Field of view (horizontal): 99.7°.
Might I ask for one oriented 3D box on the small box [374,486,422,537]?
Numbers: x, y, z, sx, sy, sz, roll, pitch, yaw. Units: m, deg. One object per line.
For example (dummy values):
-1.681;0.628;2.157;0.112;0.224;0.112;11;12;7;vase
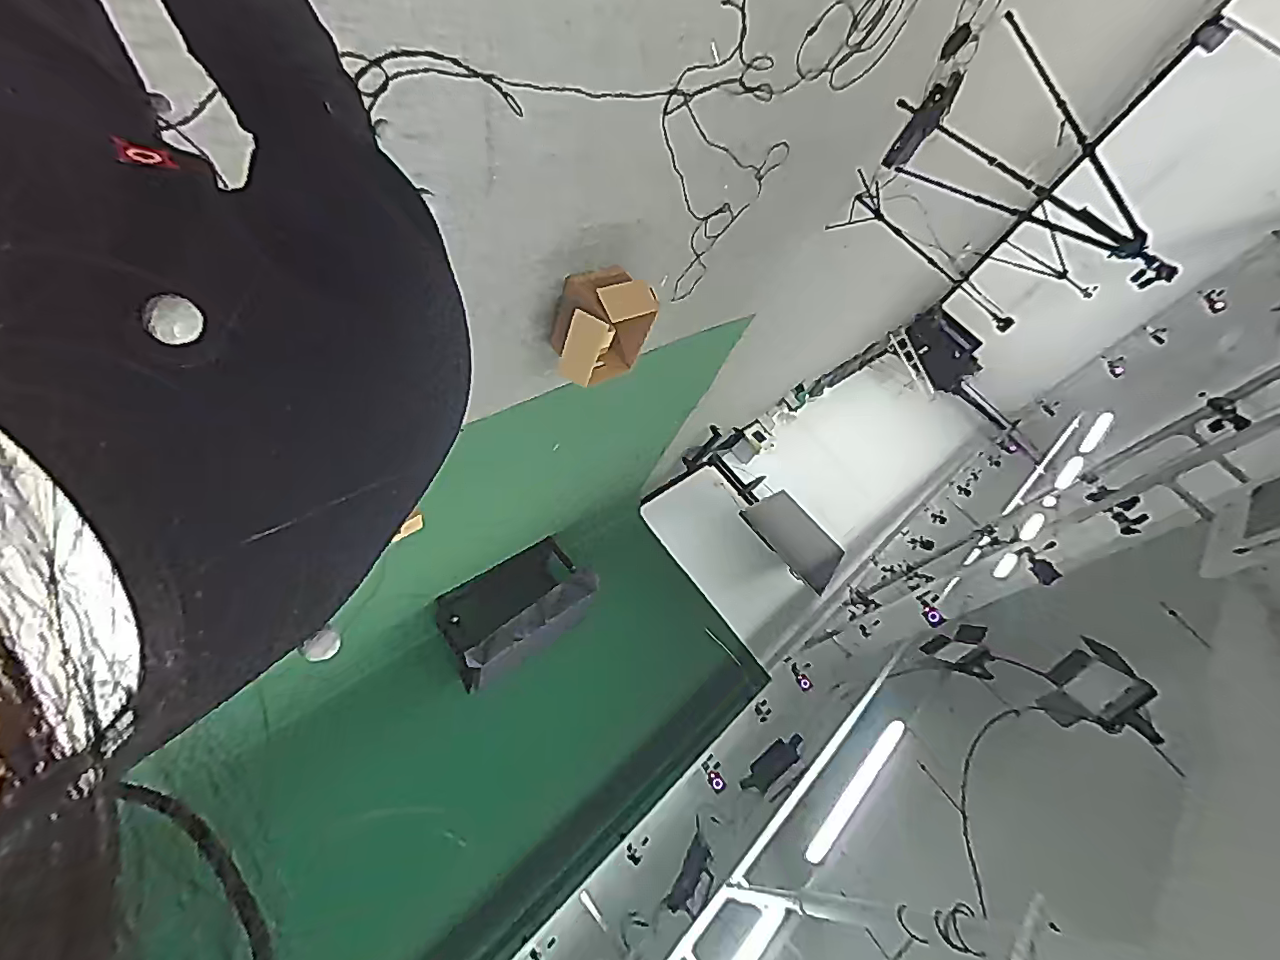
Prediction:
-1.278;0.164;2.846;0.179;0.176;0.168;-33;165;-32;small box
